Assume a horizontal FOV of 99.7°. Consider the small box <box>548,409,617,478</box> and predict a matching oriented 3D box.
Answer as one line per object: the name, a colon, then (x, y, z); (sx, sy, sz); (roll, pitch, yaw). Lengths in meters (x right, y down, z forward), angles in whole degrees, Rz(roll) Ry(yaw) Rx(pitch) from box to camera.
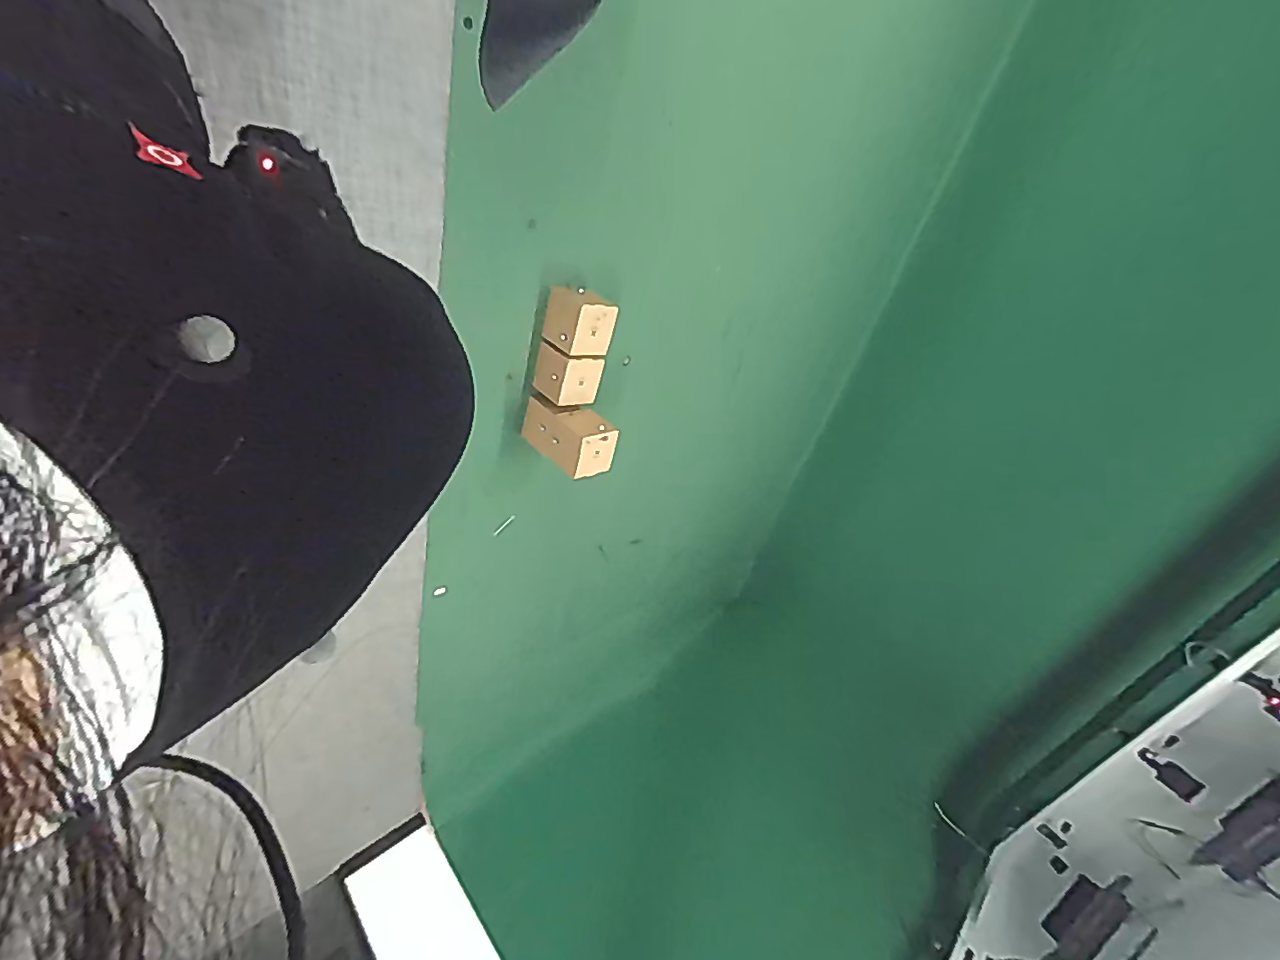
small box: (-0.213, -0.134, 1.948); (0.168, 0.176, 0.179); (-17, 136, -43)
